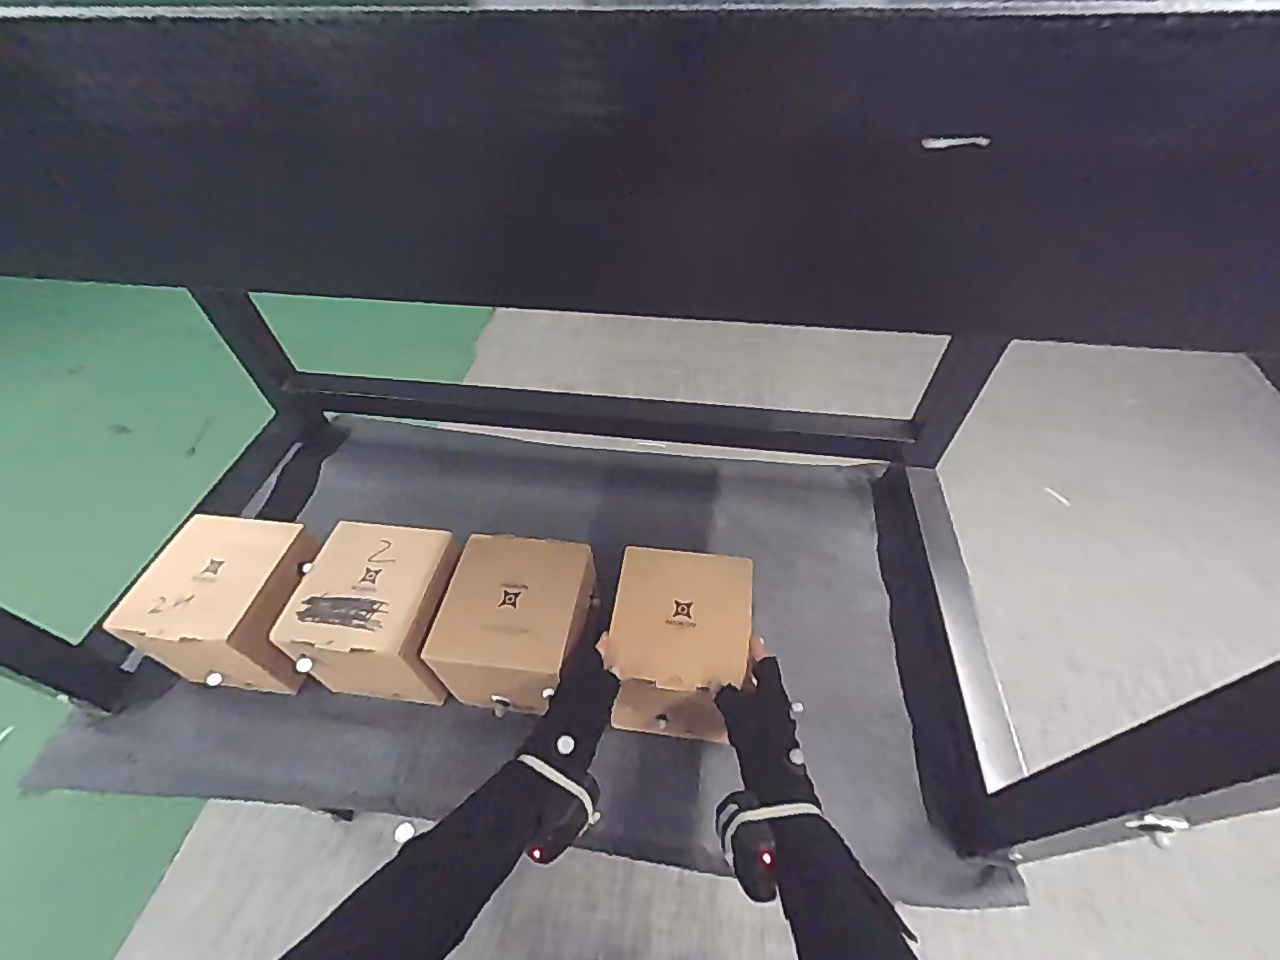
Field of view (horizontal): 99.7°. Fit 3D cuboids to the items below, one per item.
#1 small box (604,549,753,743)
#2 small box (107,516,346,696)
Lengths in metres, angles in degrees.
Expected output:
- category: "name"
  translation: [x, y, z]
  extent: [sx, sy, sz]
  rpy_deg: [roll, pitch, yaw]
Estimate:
- category: "small box"
  translation: [0.053, 0.214, 0.700]
  extent: [0.168, 0.176, 0.179]
  rpy_deg: [4, 49, 7]
- category: "small box"
  translation: [-0.544, 0.175, 0.749]
  extent: [0.168, 0.176, 0.179]
  rpy_deg: [5, 49, 6]
